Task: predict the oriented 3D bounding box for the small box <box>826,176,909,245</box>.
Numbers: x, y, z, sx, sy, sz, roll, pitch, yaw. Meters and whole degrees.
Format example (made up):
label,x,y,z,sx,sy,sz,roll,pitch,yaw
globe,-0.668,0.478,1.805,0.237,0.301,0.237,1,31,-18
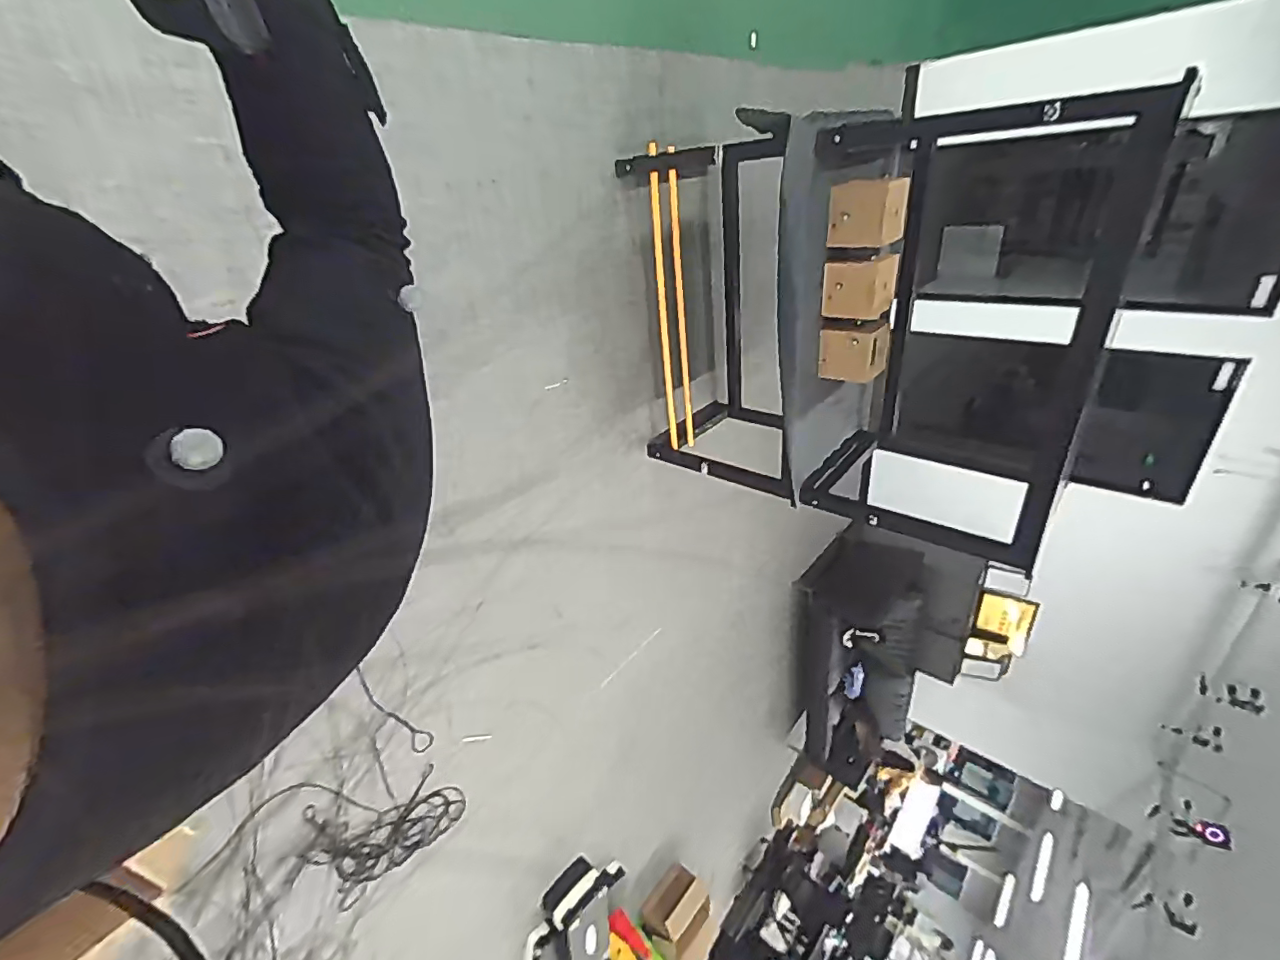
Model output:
label,x,y,z,sx,sy,sz,roll,pitch,yaw
small box,0.679,-0.808,1.621,0.179,0.176,0.168,-34,130,-38
